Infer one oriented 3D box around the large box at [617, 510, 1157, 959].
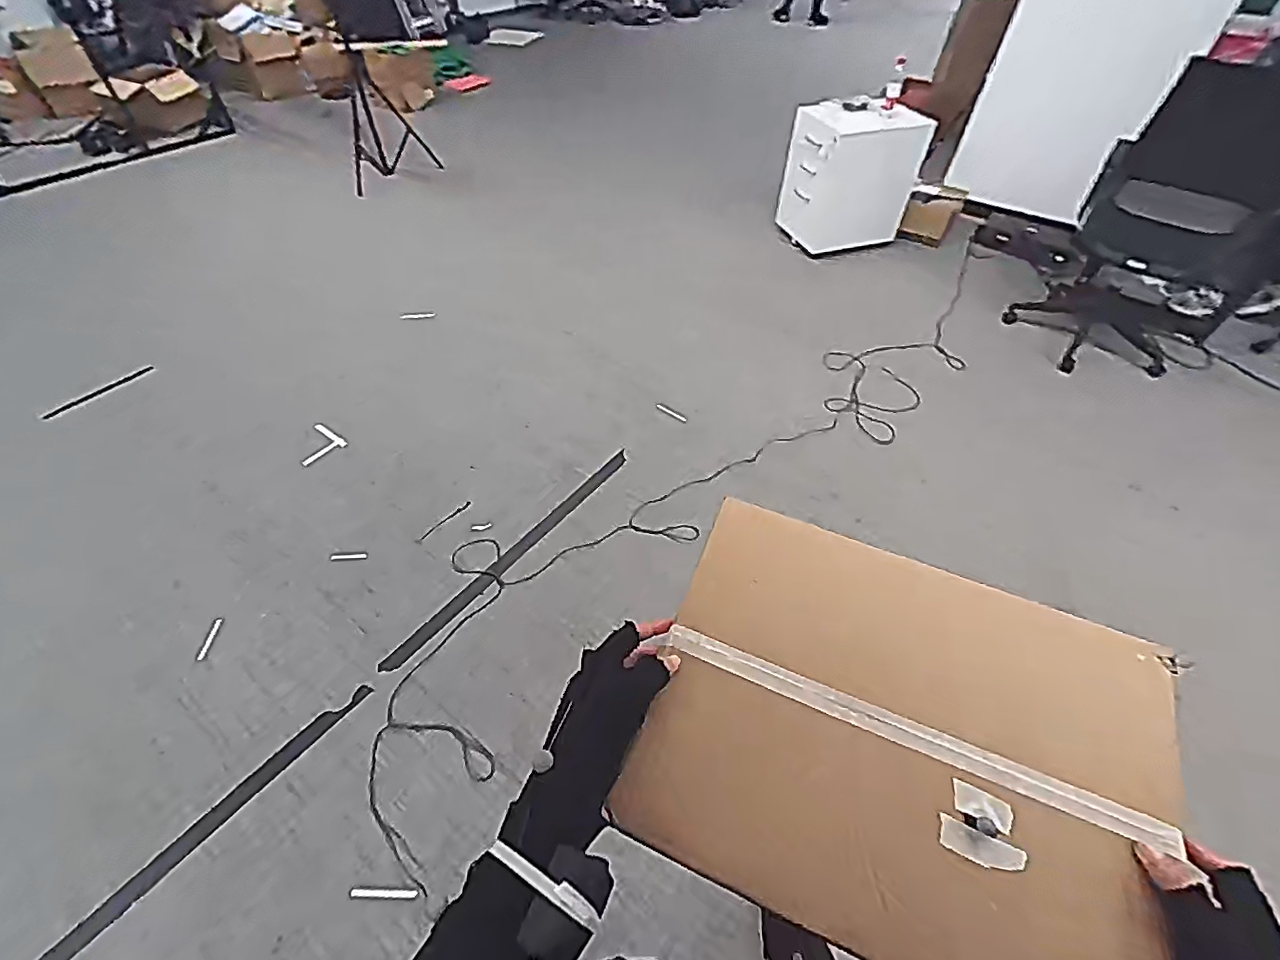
[{"bbox_3d":[0.221,0.287,0.596,0.408,0.320,0.320,19,63,13],"label":"large box"}]
